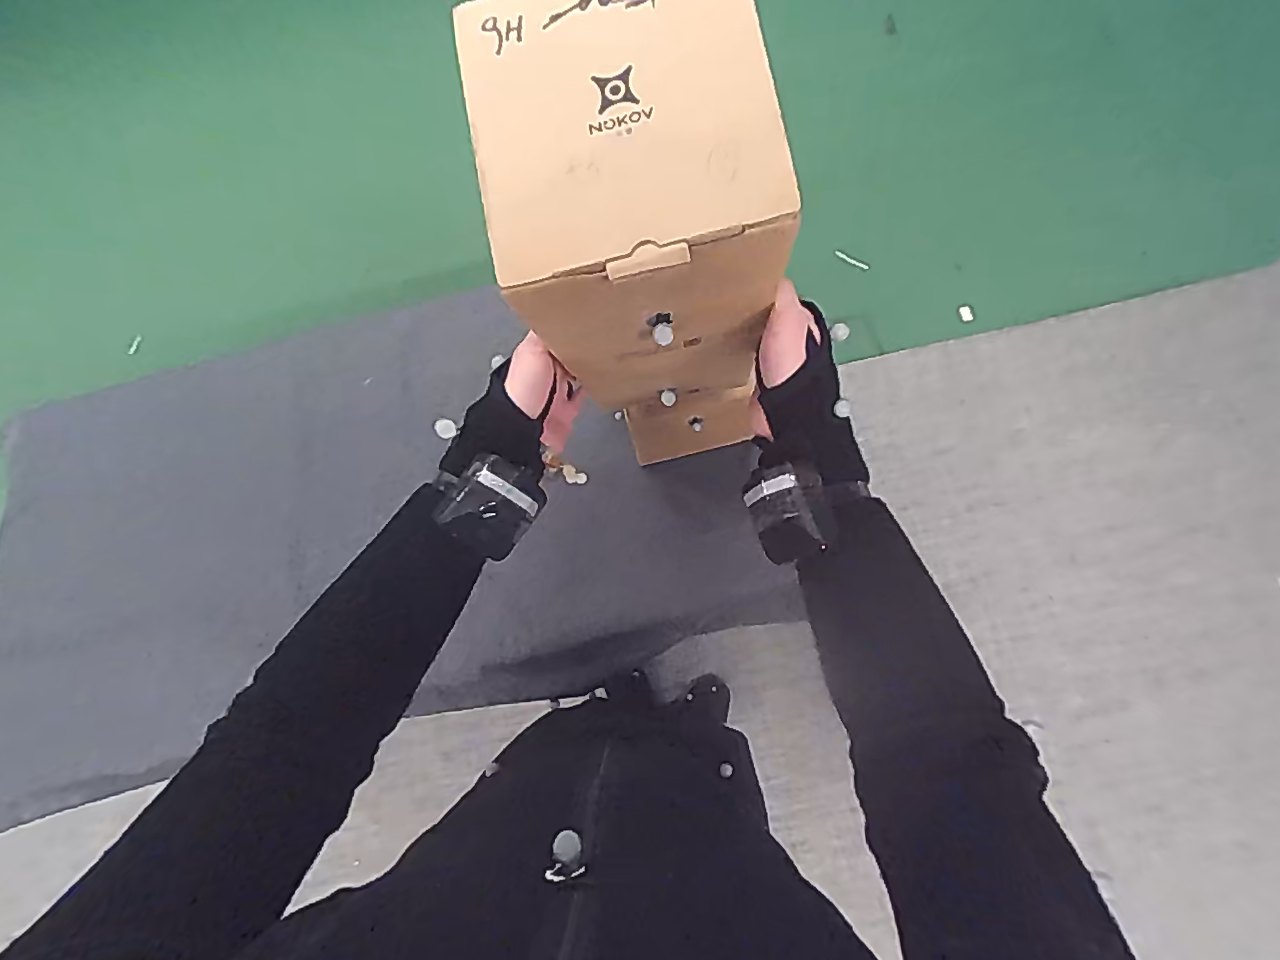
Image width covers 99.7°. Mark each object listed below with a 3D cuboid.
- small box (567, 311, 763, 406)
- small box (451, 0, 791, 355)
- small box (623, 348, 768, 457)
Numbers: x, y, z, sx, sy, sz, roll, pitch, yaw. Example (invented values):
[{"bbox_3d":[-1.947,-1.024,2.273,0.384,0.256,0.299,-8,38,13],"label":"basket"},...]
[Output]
[{"bbox_3d":[0.017,-0.187,0.533,0.168,0.176,0.179,-10,84,7],"label":"small box"},{"bbox_3d":[-0.004,-0.198,0.372,0.168,0.176,0.179,-11,84,6],"label":"small box"},{"bbox_3d":[0.059,-0.145,0.738,0.179,0.176,0.168,-14,74,1],"label":"small box"}]
